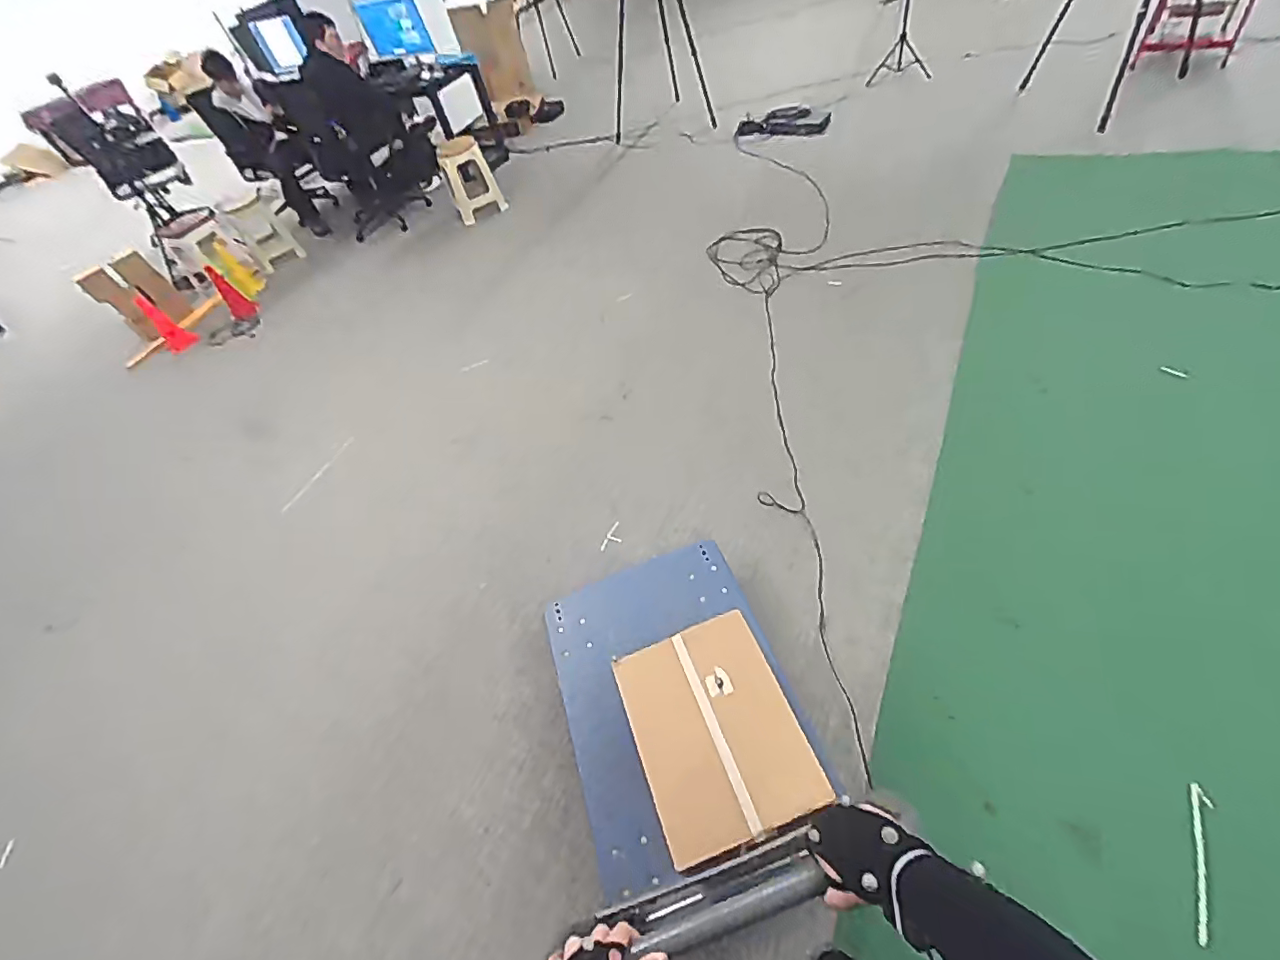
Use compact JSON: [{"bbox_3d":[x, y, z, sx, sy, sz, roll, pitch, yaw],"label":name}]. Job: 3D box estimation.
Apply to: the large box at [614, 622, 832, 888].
[{"bbox_3d":[0.177,0.606,1.205,0.320,0.320,0.408,-21,48,-4],"label":"large box"}]
